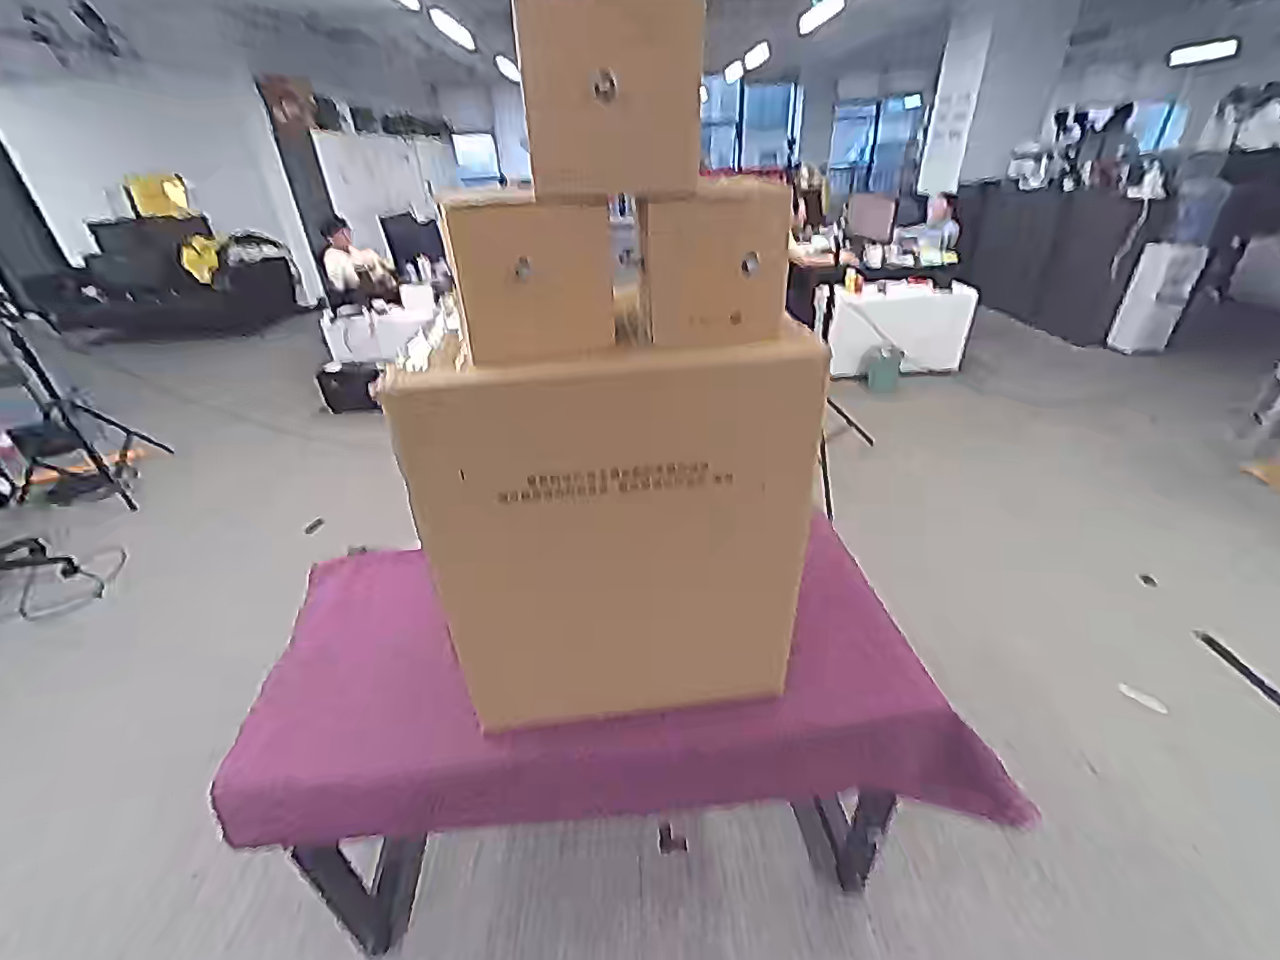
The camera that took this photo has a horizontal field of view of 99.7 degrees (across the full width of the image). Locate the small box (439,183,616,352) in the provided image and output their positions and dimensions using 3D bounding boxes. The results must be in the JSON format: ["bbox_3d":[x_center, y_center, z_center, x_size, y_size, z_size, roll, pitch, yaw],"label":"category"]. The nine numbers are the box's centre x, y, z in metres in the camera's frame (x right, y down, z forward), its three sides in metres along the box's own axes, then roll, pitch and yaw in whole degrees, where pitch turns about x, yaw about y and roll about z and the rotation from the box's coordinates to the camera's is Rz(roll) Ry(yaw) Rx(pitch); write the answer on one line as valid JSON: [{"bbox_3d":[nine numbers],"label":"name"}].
[{"bbox_3d":[-0.136,-0.265,0.667,0.179,0.176,0.168,-12,34,-17],"label":"small box"}]

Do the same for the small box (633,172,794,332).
[{"bbox_3d":[0.084,-0.292,0.695,0.168,0.176,0.179,-5,31,-5],"label":"small box"}]

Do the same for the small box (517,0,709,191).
[{"bbox_3d":[-0.028,-0.416,0.589,0.179,0.176,0.168,-4,32,-2],"label":"small box"}]
